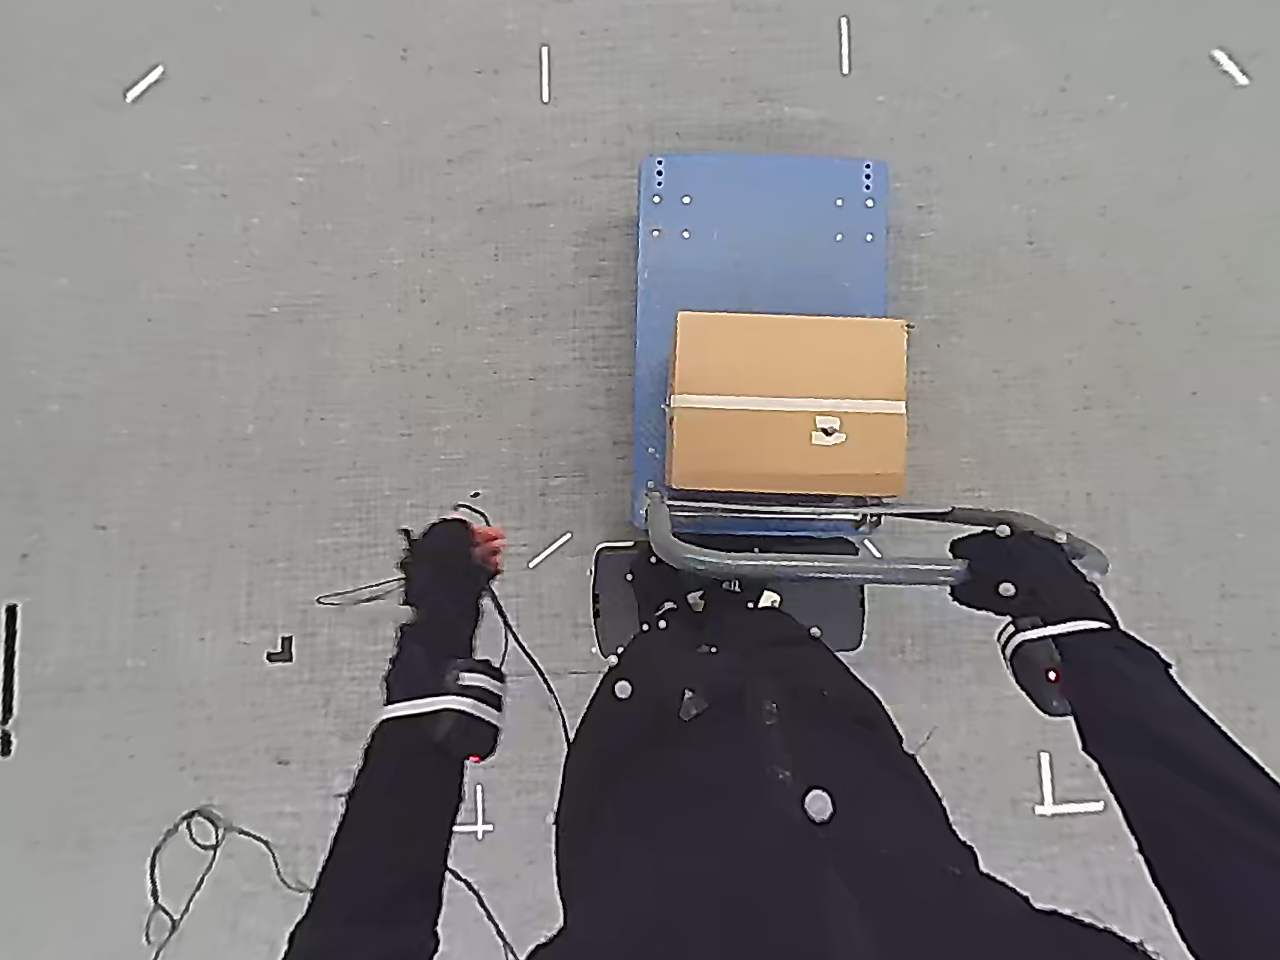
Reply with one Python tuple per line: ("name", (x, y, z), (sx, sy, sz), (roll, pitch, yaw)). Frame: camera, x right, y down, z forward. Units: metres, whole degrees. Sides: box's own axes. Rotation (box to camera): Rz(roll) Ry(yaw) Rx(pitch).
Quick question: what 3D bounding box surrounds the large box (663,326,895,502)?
("large box", (0.254, -0.113, 1.113), (0.408, 0.320, 0.320), (2, 89, -1))
